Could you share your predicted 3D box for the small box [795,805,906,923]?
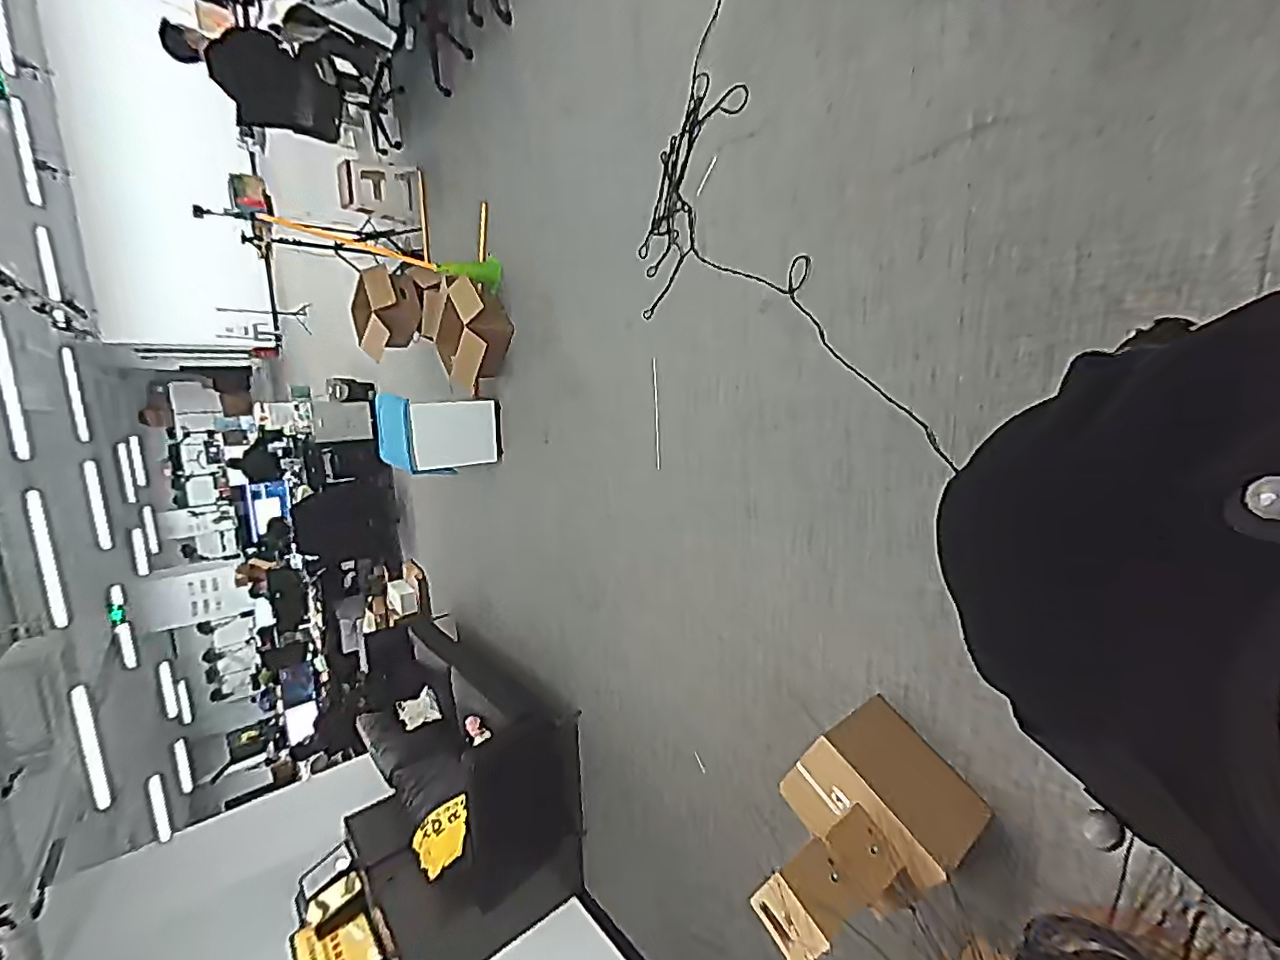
[{"bbox_3d":[0.544,0.986,1.397,0.168,0.176,0.179,50,133,33],"label":"small box"}]
